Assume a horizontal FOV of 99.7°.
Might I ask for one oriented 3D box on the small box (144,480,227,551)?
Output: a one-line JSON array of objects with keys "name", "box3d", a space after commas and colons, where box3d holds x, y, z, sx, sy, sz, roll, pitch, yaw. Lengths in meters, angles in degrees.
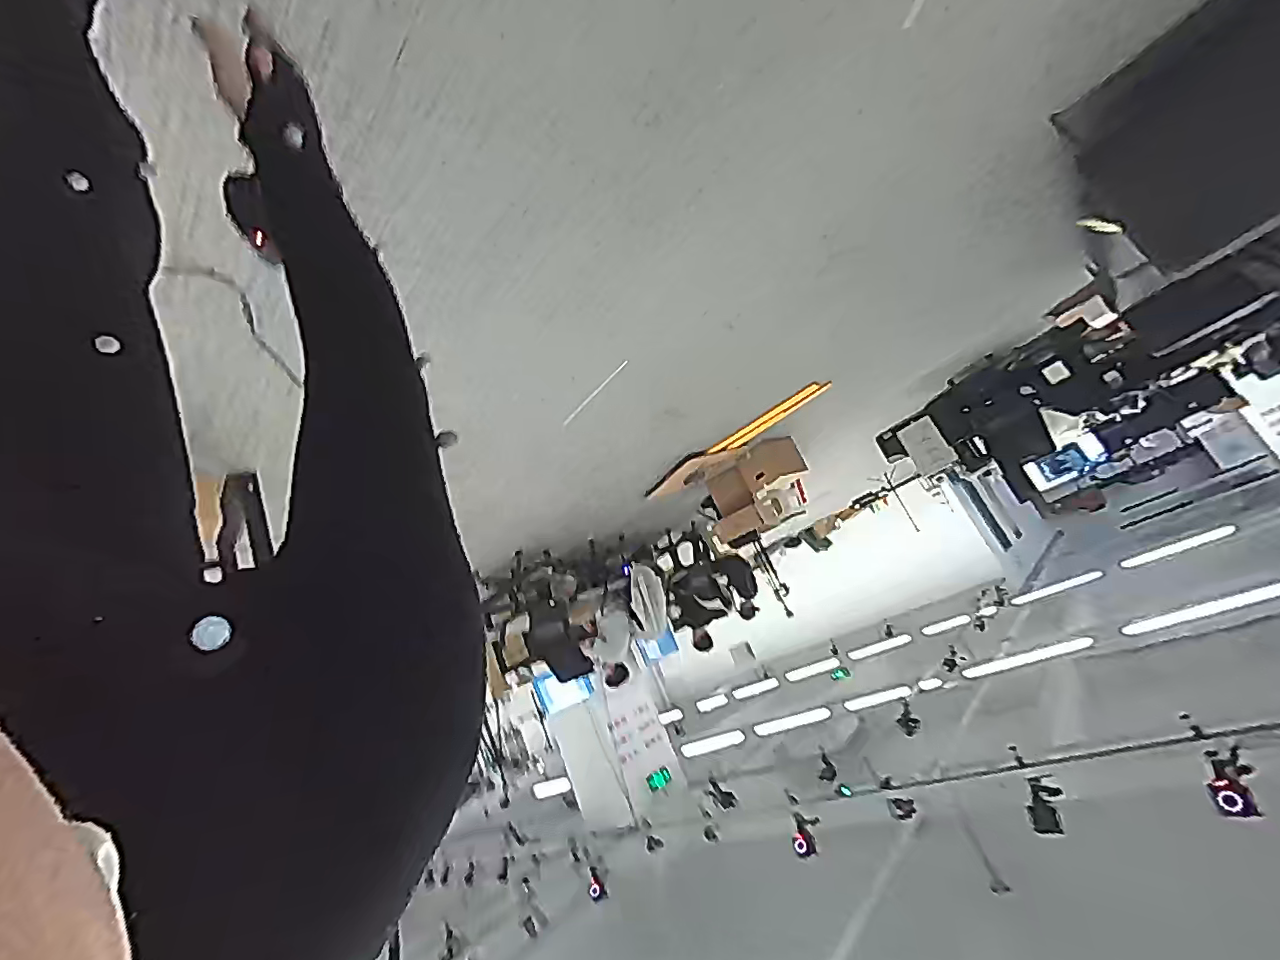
[{"name": "small box", "box3d": [-1.460, 0.107, 1.734, 0.179, 0.176, 0.168, -5, 154, -47]}]
